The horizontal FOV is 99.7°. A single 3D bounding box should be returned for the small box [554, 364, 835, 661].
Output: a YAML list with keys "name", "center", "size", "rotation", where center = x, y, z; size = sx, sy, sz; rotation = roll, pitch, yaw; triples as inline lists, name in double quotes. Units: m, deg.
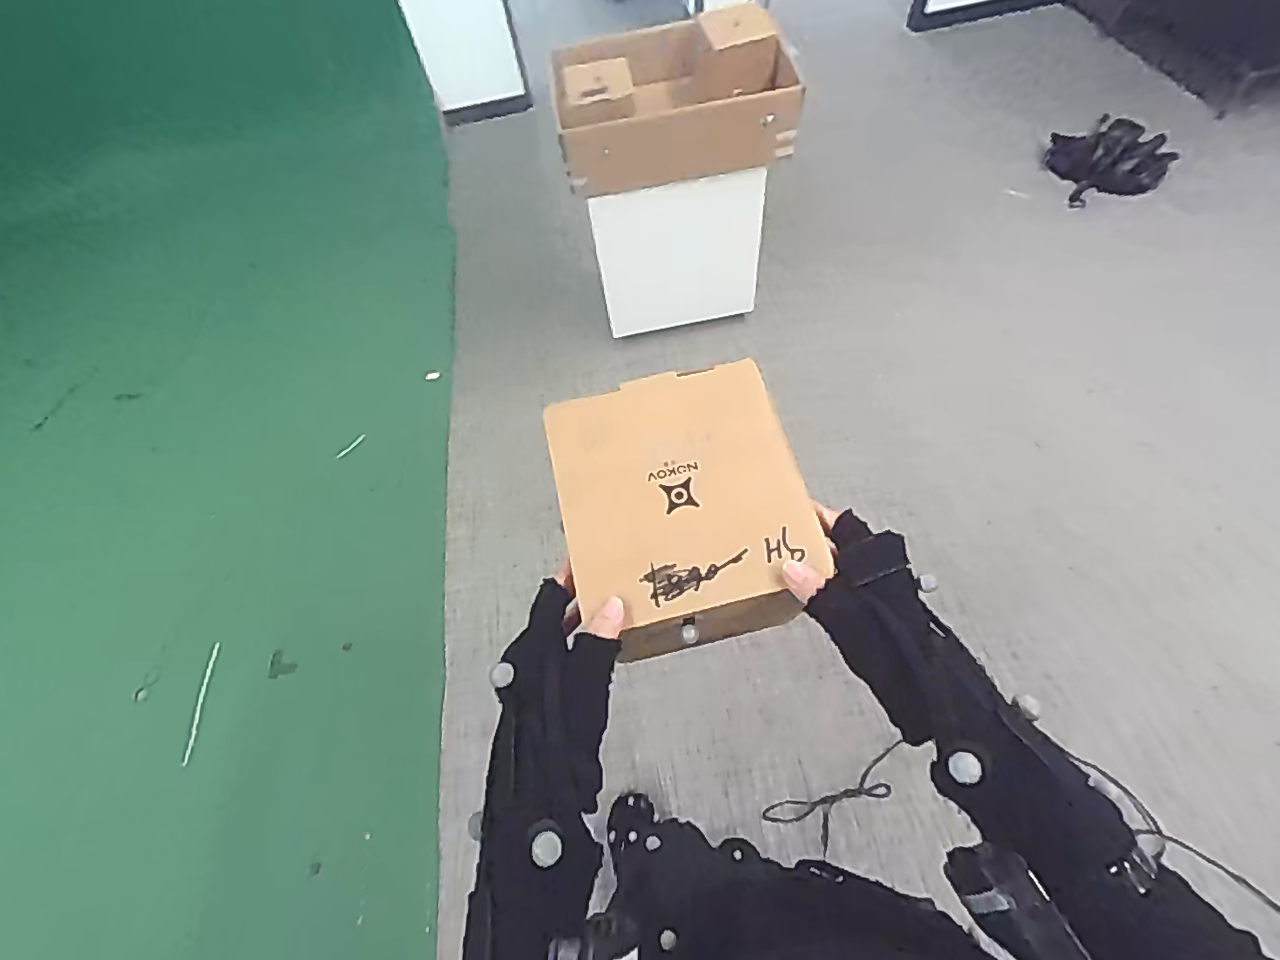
- name: "small box"
  center: [0.036, 0.037, 0.451]
  size: [0.168, 0.176, 0.179]
  rotation: [-14, 64, 0]
